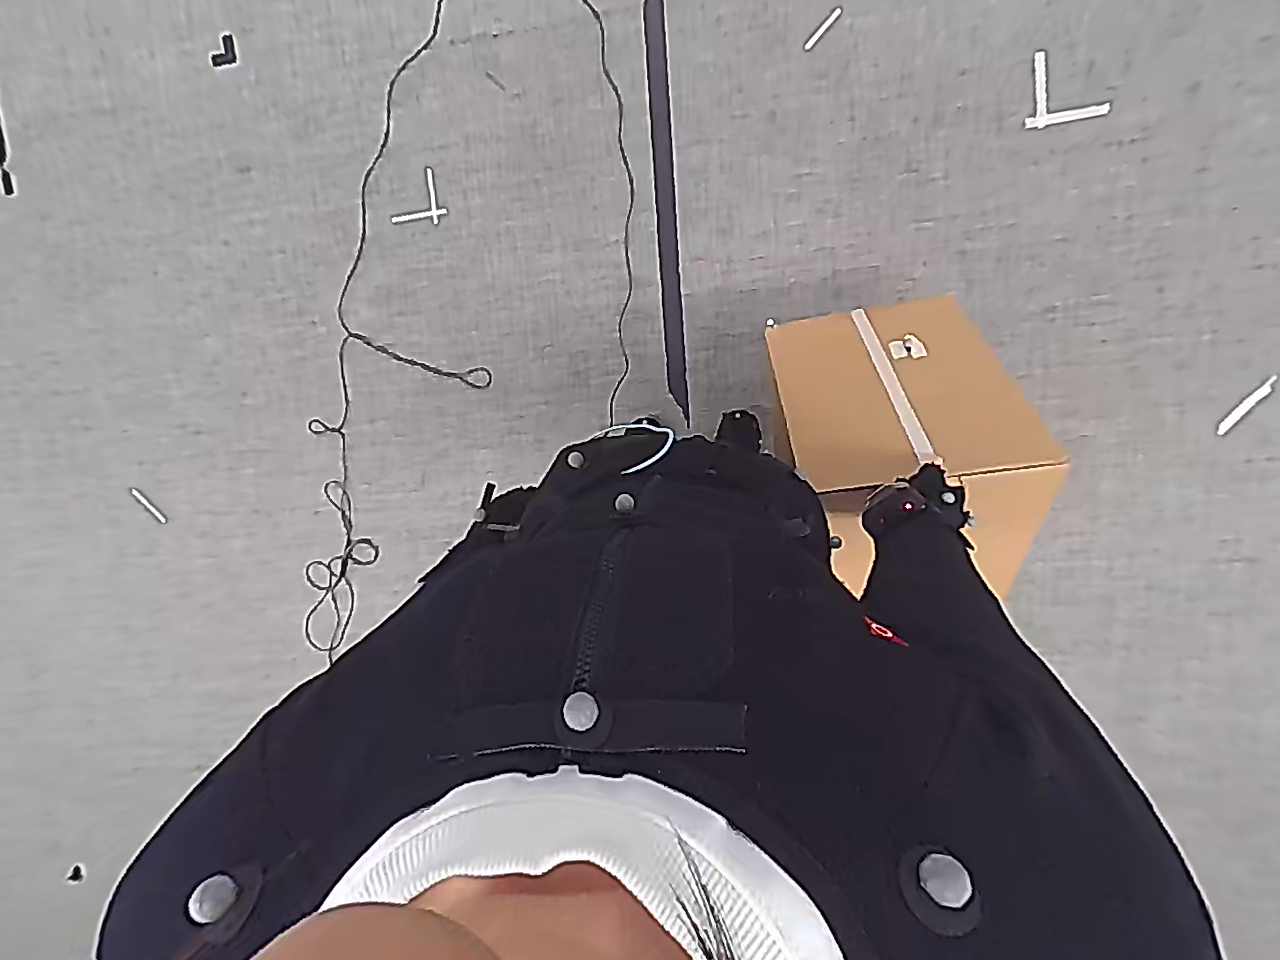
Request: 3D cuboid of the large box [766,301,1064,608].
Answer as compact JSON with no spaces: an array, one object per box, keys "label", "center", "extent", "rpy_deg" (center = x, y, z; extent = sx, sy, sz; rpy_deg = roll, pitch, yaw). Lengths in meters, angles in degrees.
[{"label":"large box","center":[0.410,-0.043,0.924],"extent":[0.320,0.408,0.320],"rpy_deg":[-7,135,9]}]
